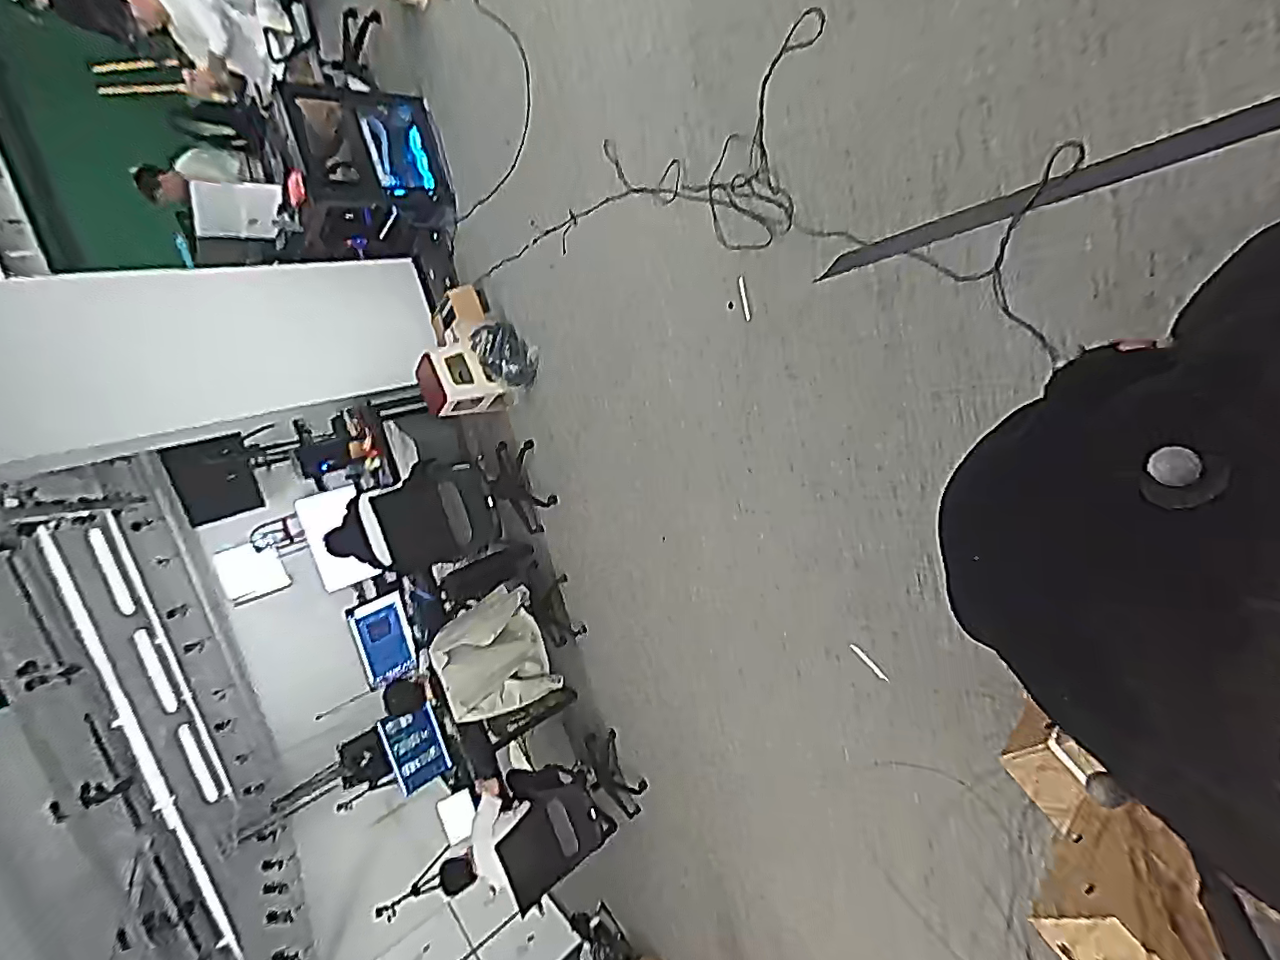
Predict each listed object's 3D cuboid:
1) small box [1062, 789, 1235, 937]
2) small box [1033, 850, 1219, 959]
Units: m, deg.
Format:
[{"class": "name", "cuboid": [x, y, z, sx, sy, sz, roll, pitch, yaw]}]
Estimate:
[{"class": "small box", "cuboid": [0.974, 0.728, 1.038, 0.168, 0.176, 0.179, 52, 141, 21]}, {"class": "small box", "cuboid": [0.850, 0.786, 0.947, 0.168, 0.176, 0.179, 52, 141, 21]}]
